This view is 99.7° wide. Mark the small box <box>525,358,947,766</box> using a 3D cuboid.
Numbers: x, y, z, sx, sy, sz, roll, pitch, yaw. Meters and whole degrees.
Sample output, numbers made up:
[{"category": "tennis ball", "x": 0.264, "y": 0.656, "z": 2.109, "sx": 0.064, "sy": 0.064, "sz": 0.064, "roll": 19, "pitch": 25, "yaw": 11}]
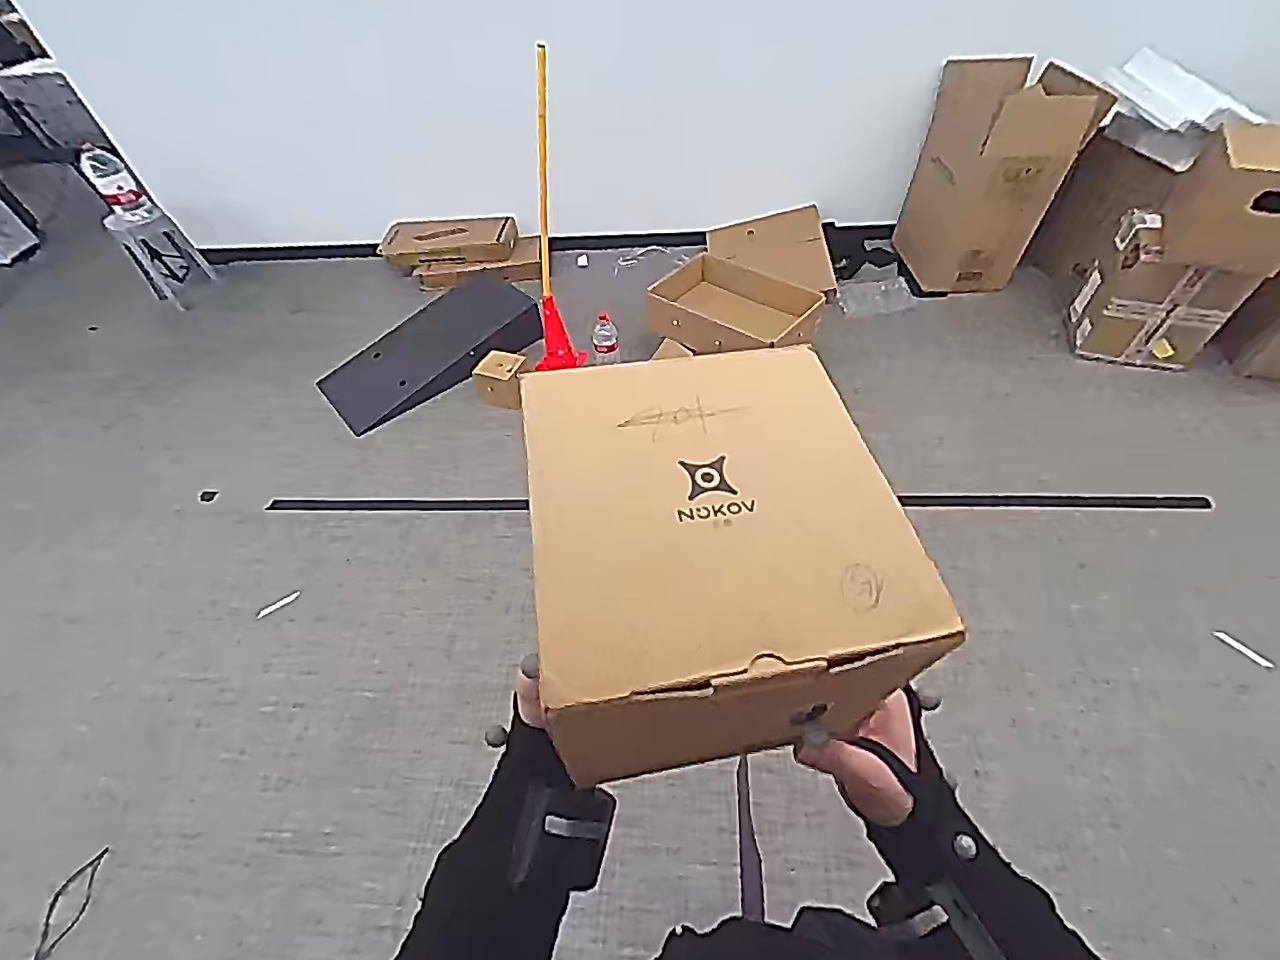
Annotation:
[{"category": "small box", "x": 0.030, "y": 0.056, "z": 0.322, "sx": 0.168, "sy": 0.176, "sz": 0.179, "roll": -8, "pitch": 53, "yaw": -9}]
